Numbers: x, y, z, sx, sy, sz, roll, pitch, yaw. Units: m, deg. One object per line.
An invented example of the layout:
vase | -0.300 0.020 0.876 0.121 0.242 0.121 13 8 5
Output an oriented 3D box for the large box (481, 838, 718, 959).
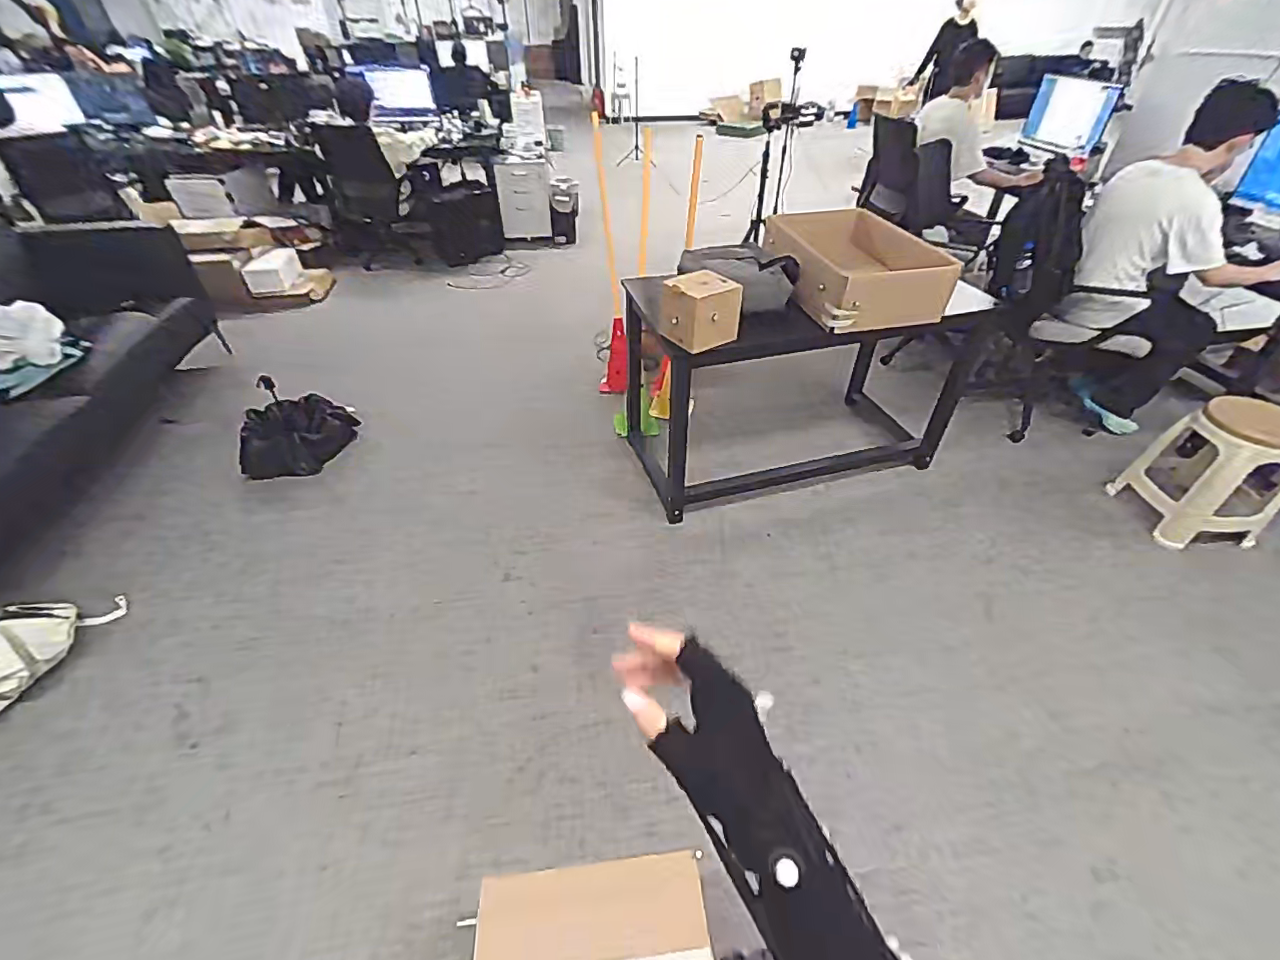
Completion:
large box | -0.069 0.920 1.007 0.408 0.320 0.320 -5 42 -4
